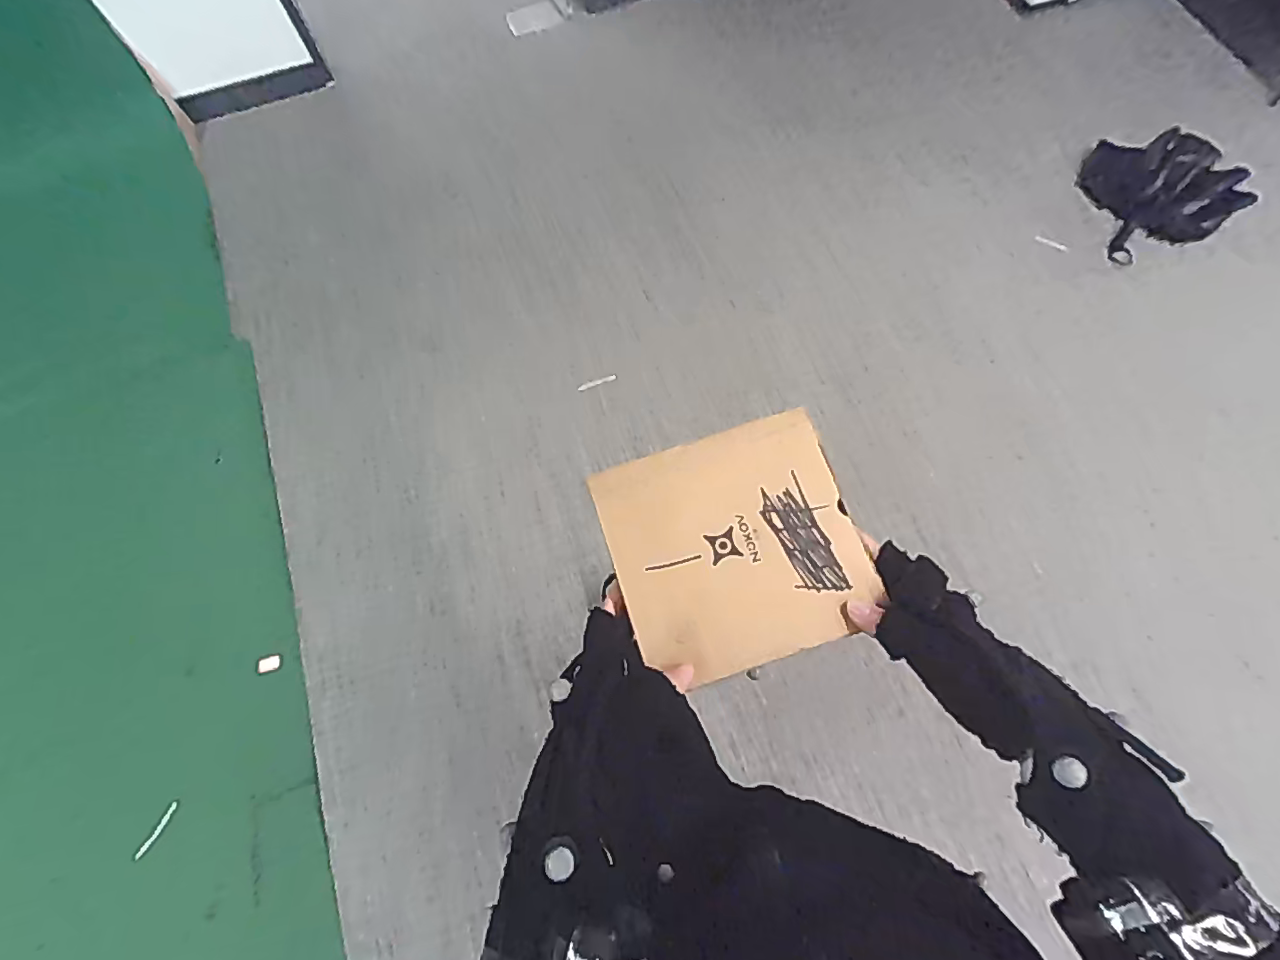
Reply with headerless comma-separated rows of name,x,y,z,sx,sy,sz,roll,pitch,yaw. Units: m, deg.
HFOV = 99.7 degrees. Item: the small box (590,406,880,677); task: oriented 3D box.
small box,0.066,0.060,0.467,0.179,0.176,0.168,-15,72,-2
